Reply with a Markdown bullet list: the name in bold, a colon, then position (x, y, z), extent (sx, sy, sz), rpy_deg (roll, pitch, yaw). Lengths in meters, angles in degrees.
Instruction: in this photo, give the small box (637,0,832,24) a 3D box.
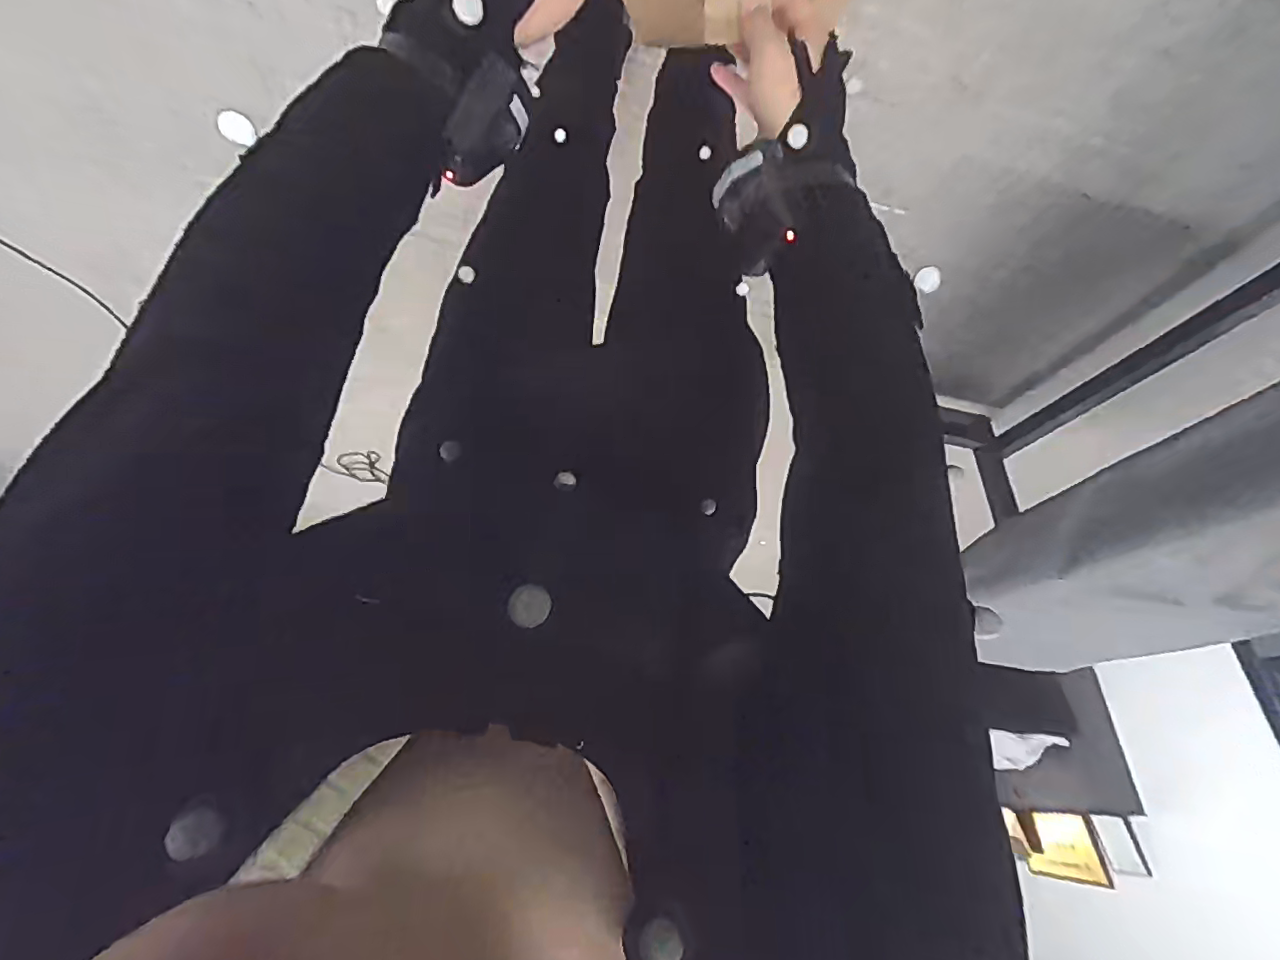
- **small box**: position (0.071, -0.445, 0.373), extent (0.168, 0.176, 0.179), rpy_deg (3, 116, 8)
